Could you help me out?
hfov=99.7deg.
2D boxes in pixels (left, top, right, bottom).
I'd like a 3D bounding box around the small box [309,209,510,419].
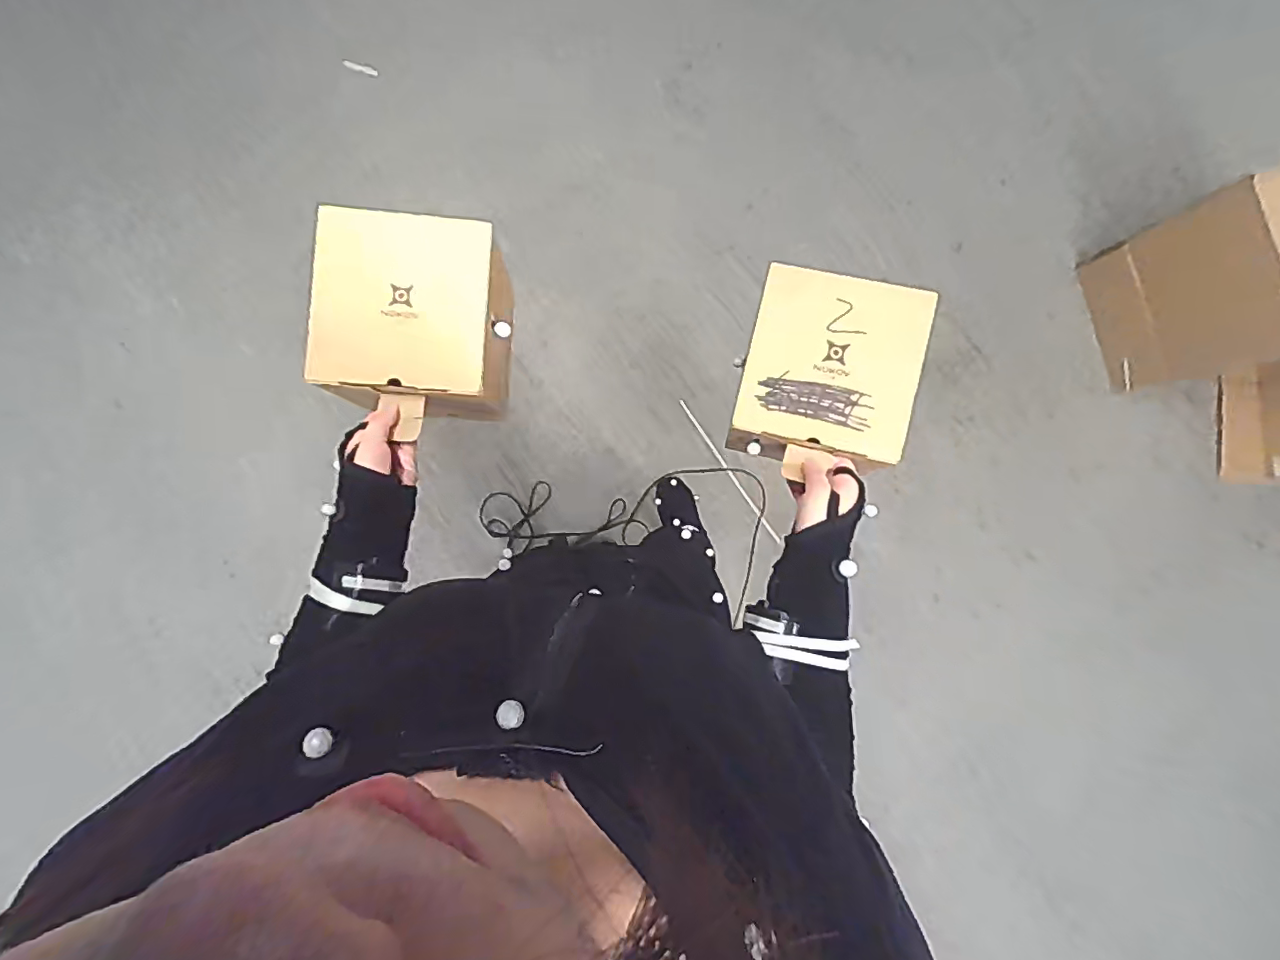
[{"bbox_3d":[-0.244,-0.172,0.613,0.168,0.176,0.179,3,88,-6],"label":"small box"}]
